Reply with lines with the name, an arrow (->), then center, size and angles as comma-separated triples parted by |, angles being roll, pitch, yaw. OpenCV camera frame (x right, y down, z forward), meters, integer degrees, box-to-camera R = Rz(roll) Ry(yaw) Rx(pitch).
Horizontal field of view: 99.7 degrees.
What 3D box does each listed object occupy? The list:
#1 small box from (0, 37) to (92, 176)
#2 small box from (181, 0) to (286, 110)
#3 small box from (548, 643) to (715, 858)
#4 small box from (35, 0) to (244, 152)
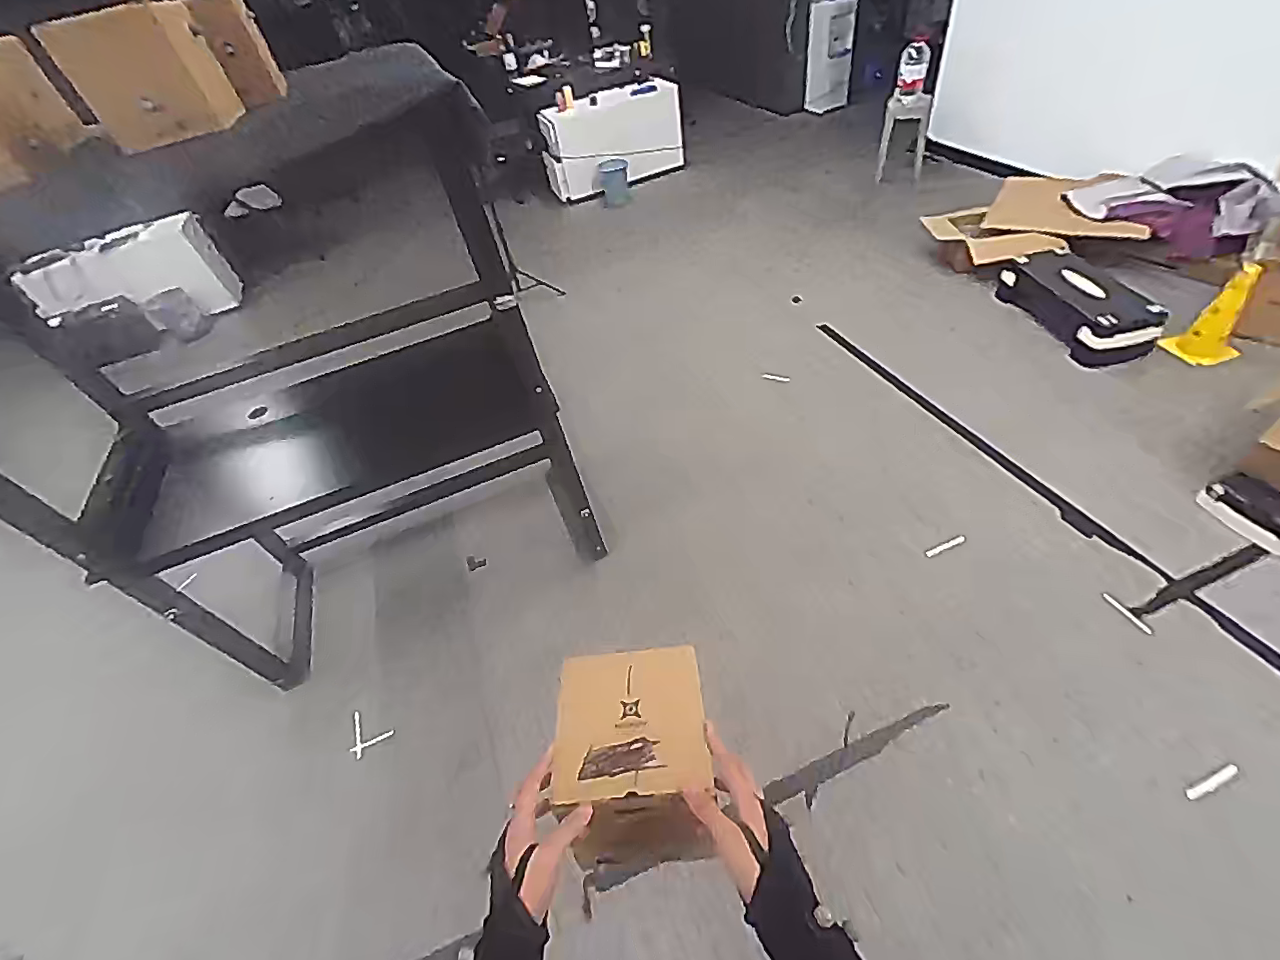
small box -> -1.192, -0.685, 0.999 | 0.179, 0.176, 0.168 | -21, 48, -8
small box -> -0.824, -0.834, 1.056 | 0.168, 0.176, 0.179 | -22, 48, -11
small box -> -0.005, 0.325, 0.647 | 0.168, 0.176, 0.179 | -7, 37, 1
small box -> -0.806, -0.670, 0.899 | 0.168, 0.176, 0.179 | -20, 46, -6
